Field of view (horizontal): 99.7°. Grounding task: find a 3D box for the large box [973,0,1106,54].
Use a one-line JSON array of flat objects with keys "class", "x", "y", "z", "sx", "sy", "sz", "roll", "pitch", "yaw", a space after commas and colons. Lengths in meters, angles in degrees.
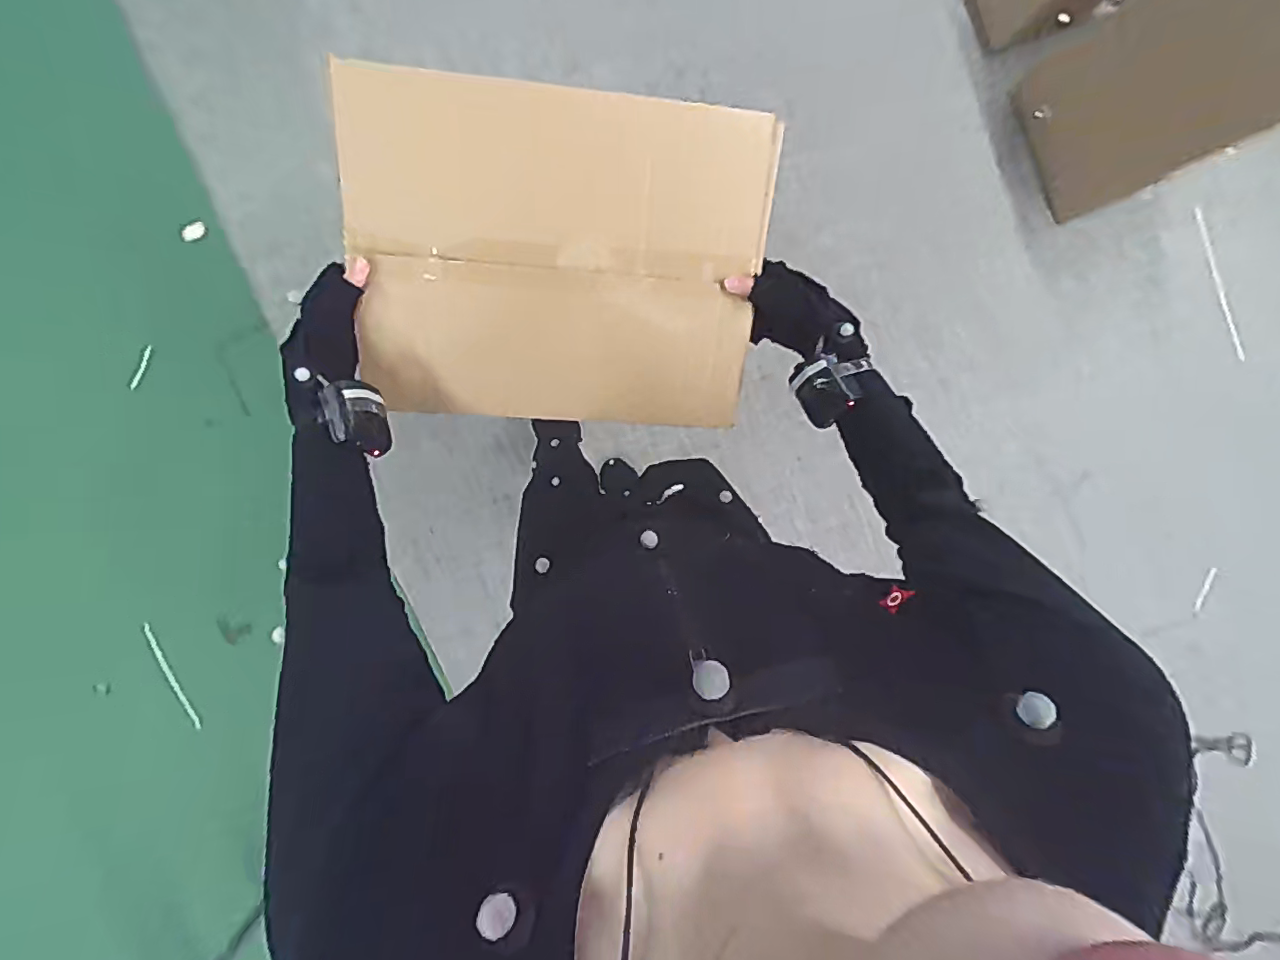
[{"class": "large box", "x": 1.023, "y": -1.380, "z": 1.309, "sx": 0.320, "sy": 0.320, "sz": 0.408, "roll": -23, "pitch": 95, "yaw": -3}]
